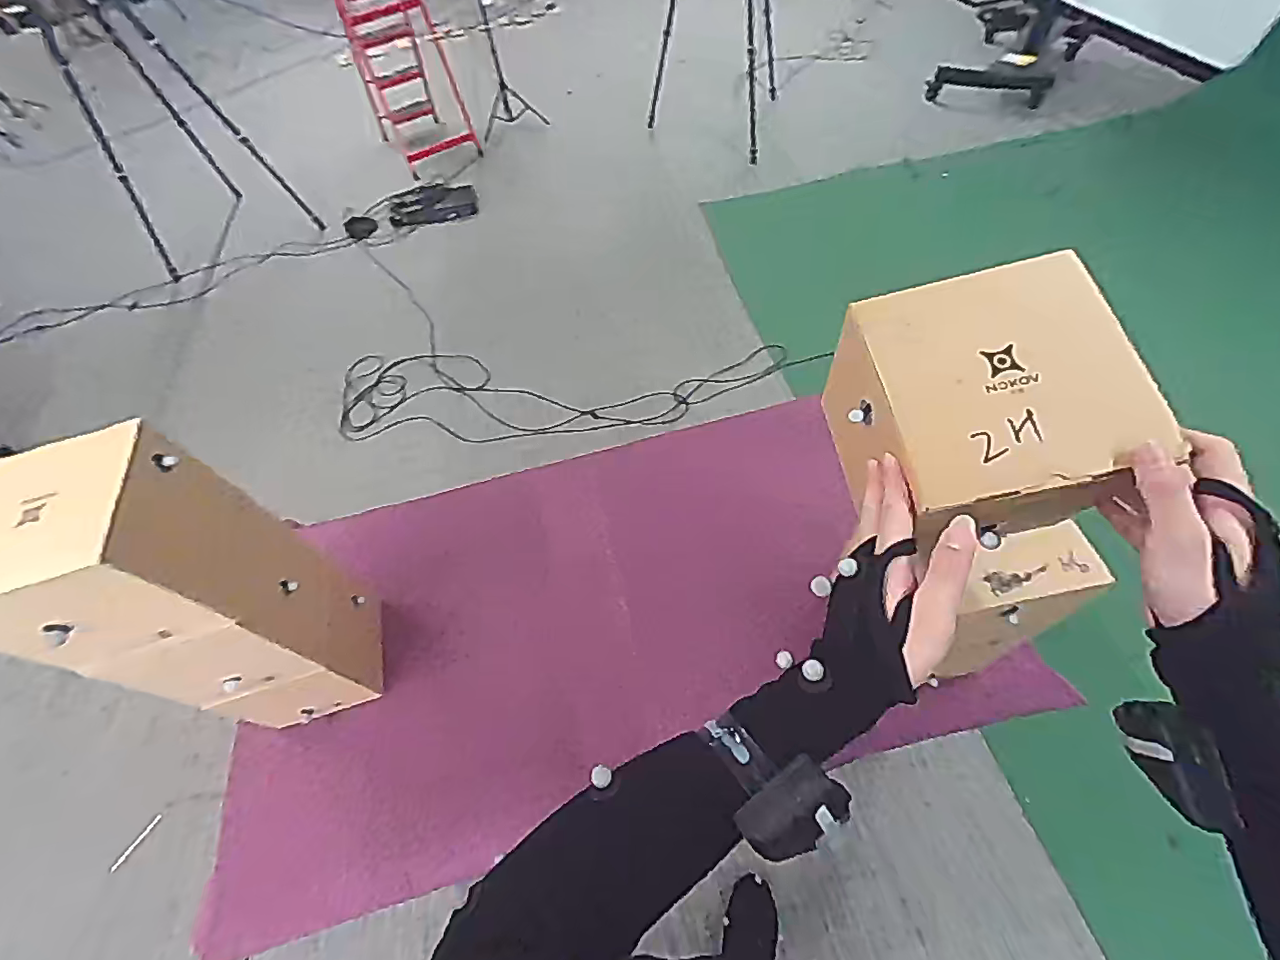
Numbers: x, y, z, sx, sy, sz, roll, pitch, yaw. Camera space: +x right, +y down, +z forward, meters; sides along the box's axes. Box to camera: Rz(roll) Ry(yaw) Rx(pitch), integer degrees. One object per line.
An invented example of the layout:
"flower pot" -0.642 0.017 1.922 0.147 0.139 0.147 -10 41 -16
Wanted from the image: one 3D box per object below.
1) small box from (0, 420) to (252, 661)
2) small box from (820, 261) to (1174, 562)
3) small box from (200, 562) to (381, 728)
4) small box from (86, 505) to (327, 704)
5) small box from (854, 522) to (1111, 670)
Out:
"small box" -0.549 0.073 0.566 0.168 0.176 0.179 -17 55 -5
"small box" 0.261 -0.043 0.454 0.168 0.176 0.179 -12 69 7
"small box" -0.519 0.257 0.833 0.168 0.176 0.179 -16 56 -5
"small box" -0.533 0.164 0.700 0.168 0.176 0.179 -17 56 -4
"small box" 0.375 0.102 0.638 0.168 0.176 0.179 -11 54 0
